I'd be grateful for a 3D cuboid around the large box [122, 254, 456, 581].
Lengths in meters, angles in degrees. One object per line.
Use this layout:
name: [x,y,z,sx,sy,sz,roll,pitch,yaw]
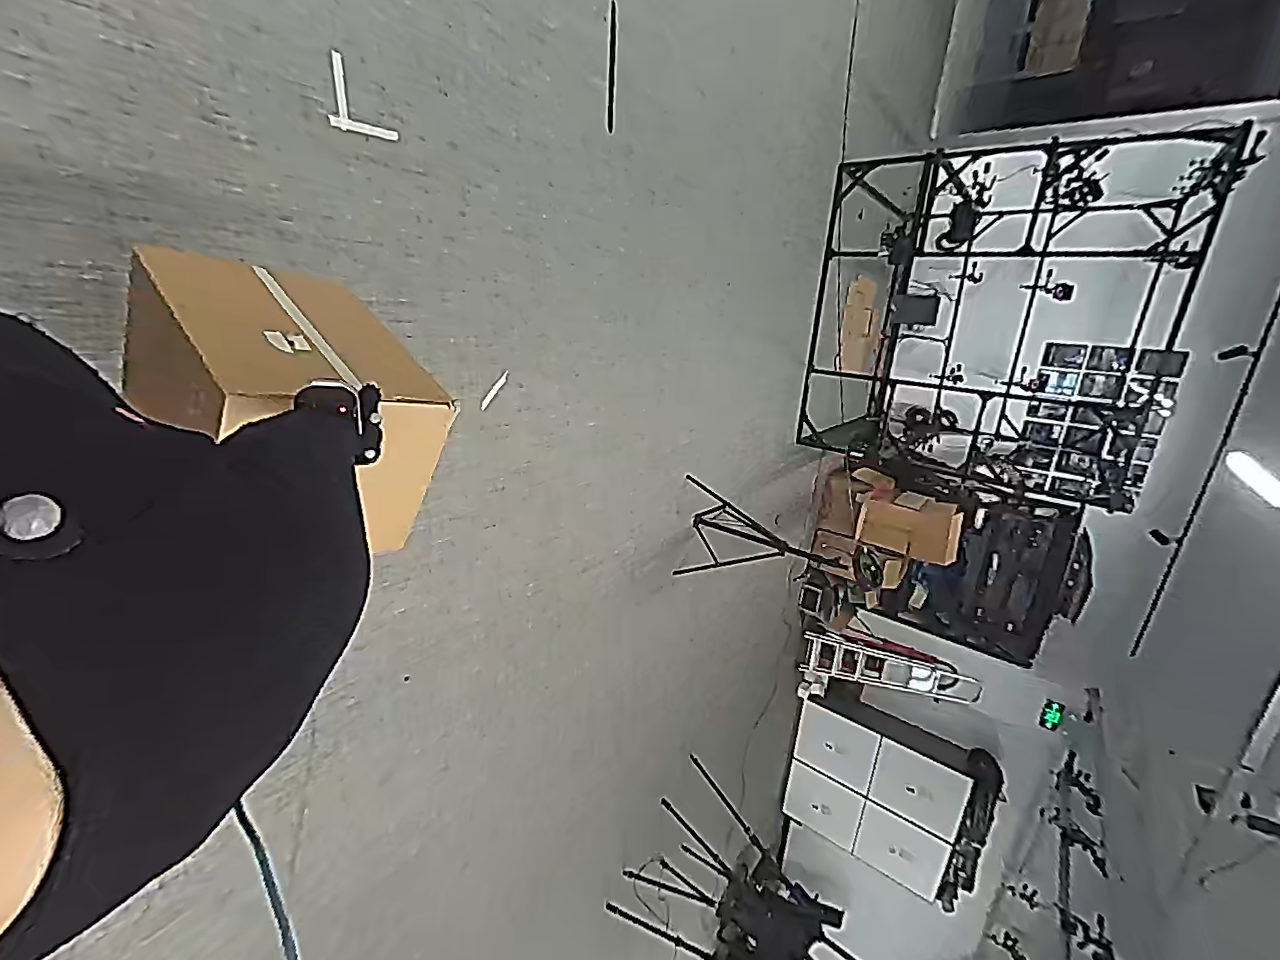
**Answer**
large box: [-0.588,-0.104,0.897,0.320,0.408,0.320,-8,136,-54]
